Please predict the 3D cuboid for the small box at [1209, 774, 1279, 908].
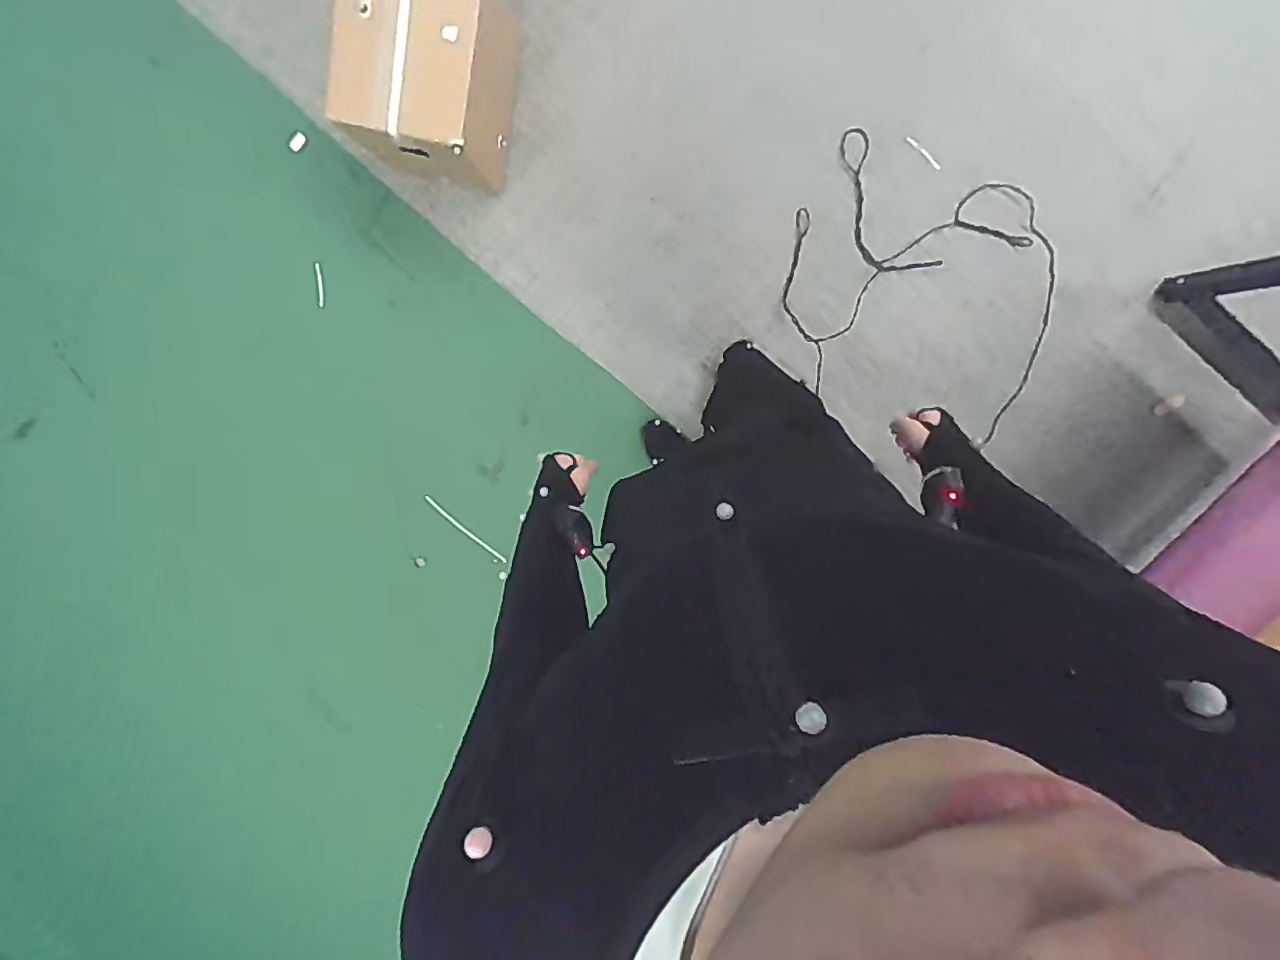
[{"bbox_3d":[1.116,0.640,0.890,0.168,0.176,0.179,41,98,-5],"label":"small box"}]
